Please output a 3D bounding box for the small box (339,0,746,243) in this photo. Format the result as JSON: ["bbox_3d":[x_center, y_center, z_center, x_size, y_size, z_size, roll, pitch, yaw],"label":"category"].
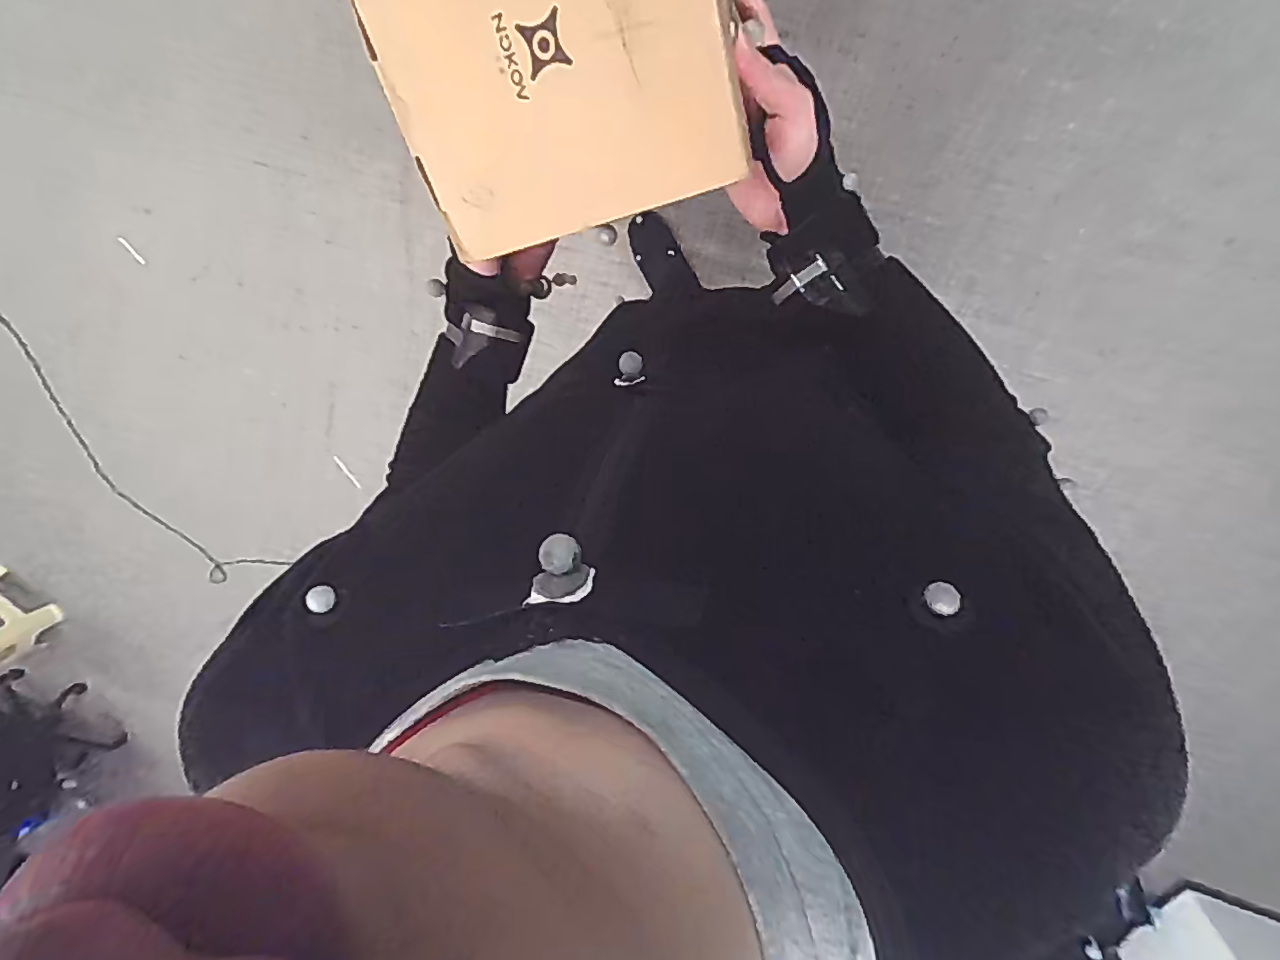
[{"bbox_3d":[-0.040,-0.259,0.318,0.179,0.176,0.168,-9,121,18],"label":"small box"}]
